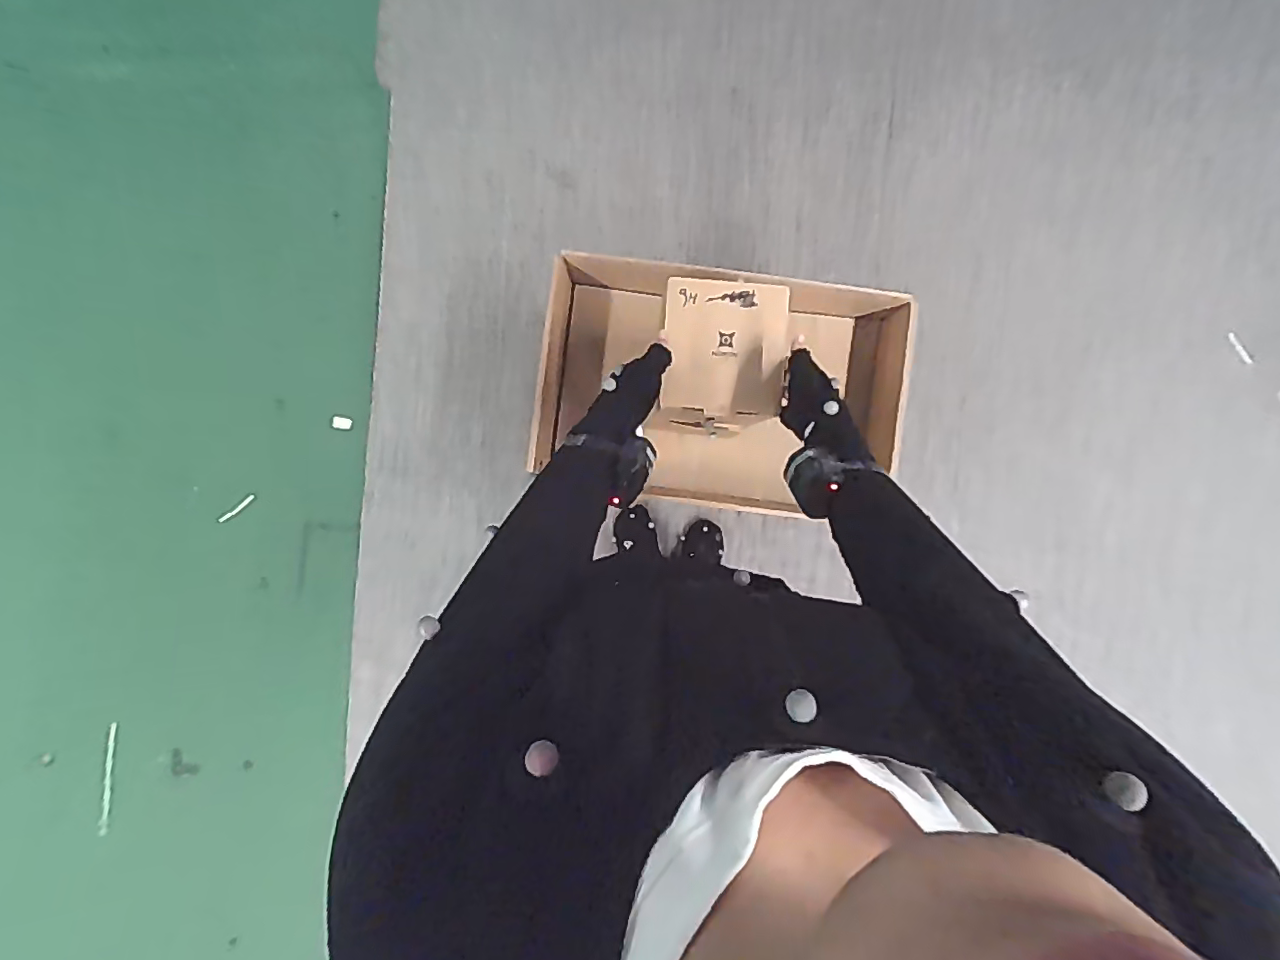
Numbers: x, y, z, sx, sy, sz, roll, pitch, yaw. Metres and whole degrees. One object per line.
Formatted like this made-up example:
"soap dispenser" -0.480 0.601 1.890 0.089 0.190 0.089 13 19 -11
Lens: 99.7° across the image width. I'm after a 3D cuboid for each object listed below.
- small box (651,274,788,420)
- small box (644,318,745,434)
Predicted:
"small box" 0.107 -0.183 0.799 0.168 0.176 0.179 4 92 -2
"small box" 0.099 -0.181 0.963 0.168 0.176 0.179 7 90 -2
